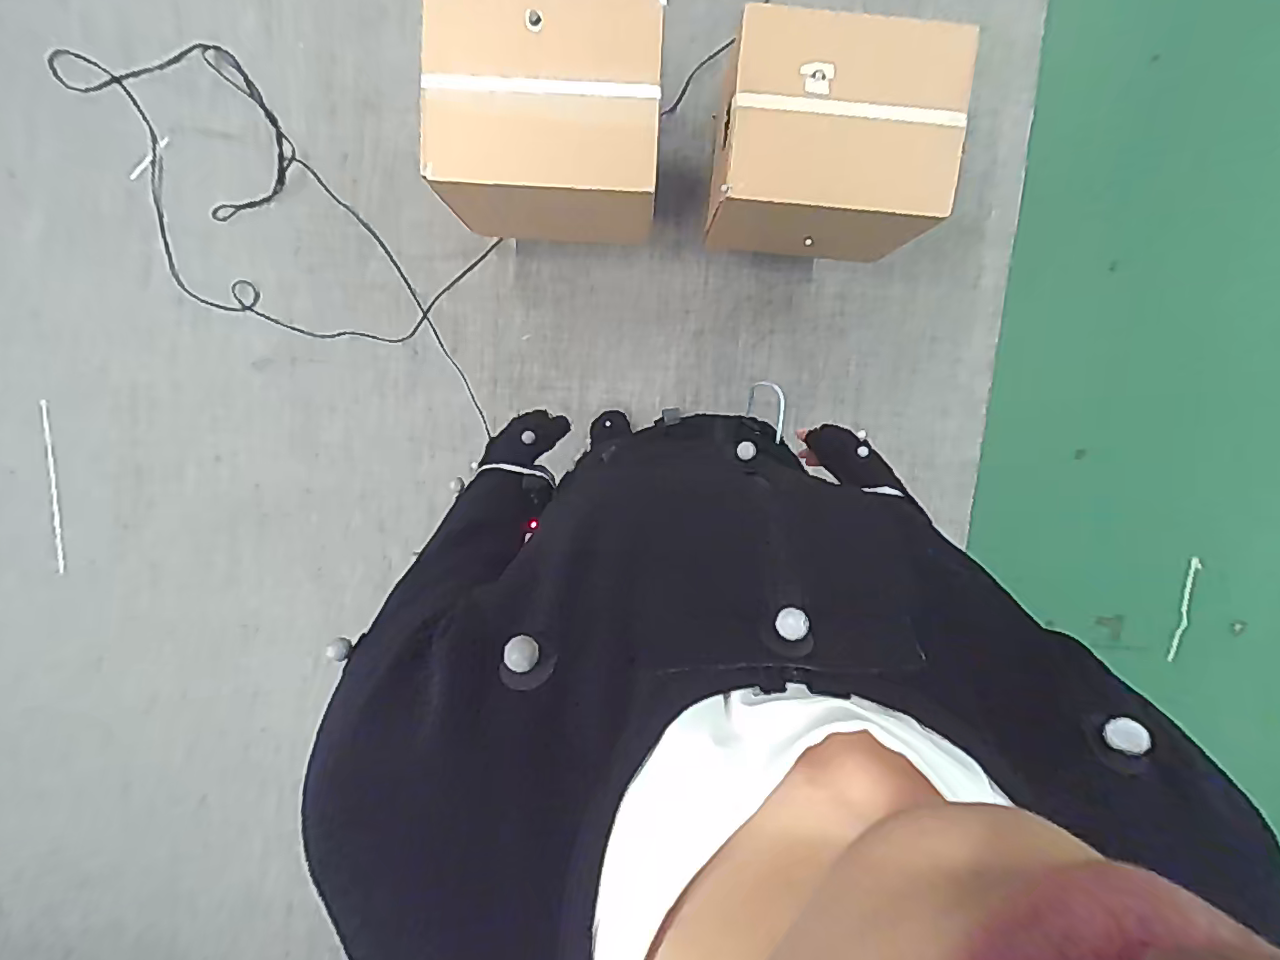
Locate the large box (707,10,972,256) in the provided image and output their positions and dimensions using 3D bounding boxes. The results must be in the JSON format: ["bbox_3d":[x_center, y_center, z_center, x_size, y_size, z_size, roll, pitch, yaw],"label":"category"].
[{"bbox_3d":[0.365,-0.661,1.093,0.408,0.320,0.320,5,98,-1],"label":"large box"}]
